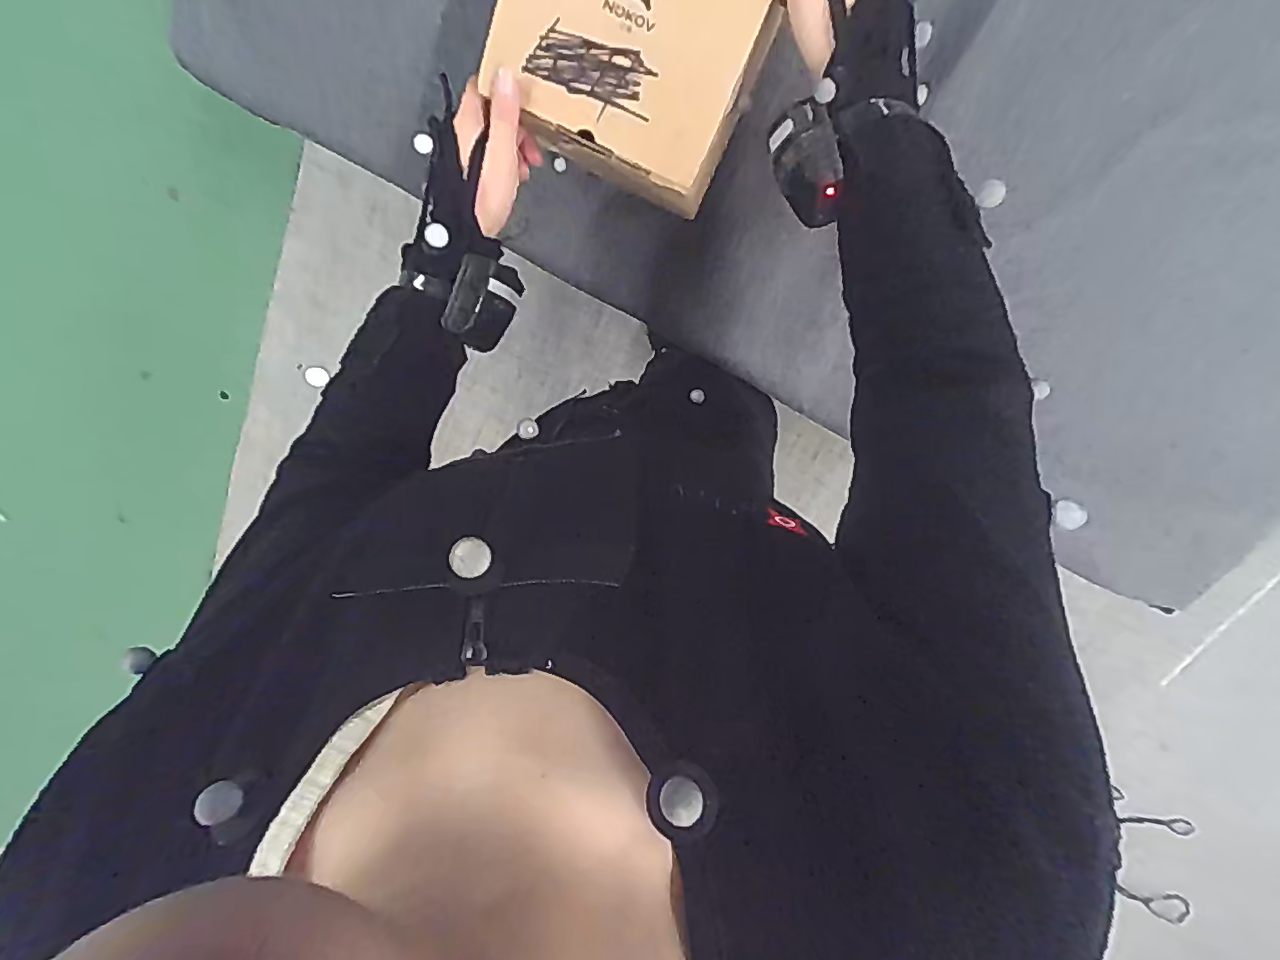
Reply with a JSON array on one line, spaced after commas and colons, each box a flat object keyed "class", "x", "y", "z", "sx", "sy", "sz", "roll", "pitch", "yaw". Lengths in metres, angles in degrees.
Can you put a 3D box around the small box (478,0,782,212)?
[{"class": "small box", "x": 0.004, "y": -0.333, "z": 0.420, "sx": 0.168, "sy": 0.176, "sz": 0.179, "roll": 25, "pitch": 110, "yaw": -3}]
